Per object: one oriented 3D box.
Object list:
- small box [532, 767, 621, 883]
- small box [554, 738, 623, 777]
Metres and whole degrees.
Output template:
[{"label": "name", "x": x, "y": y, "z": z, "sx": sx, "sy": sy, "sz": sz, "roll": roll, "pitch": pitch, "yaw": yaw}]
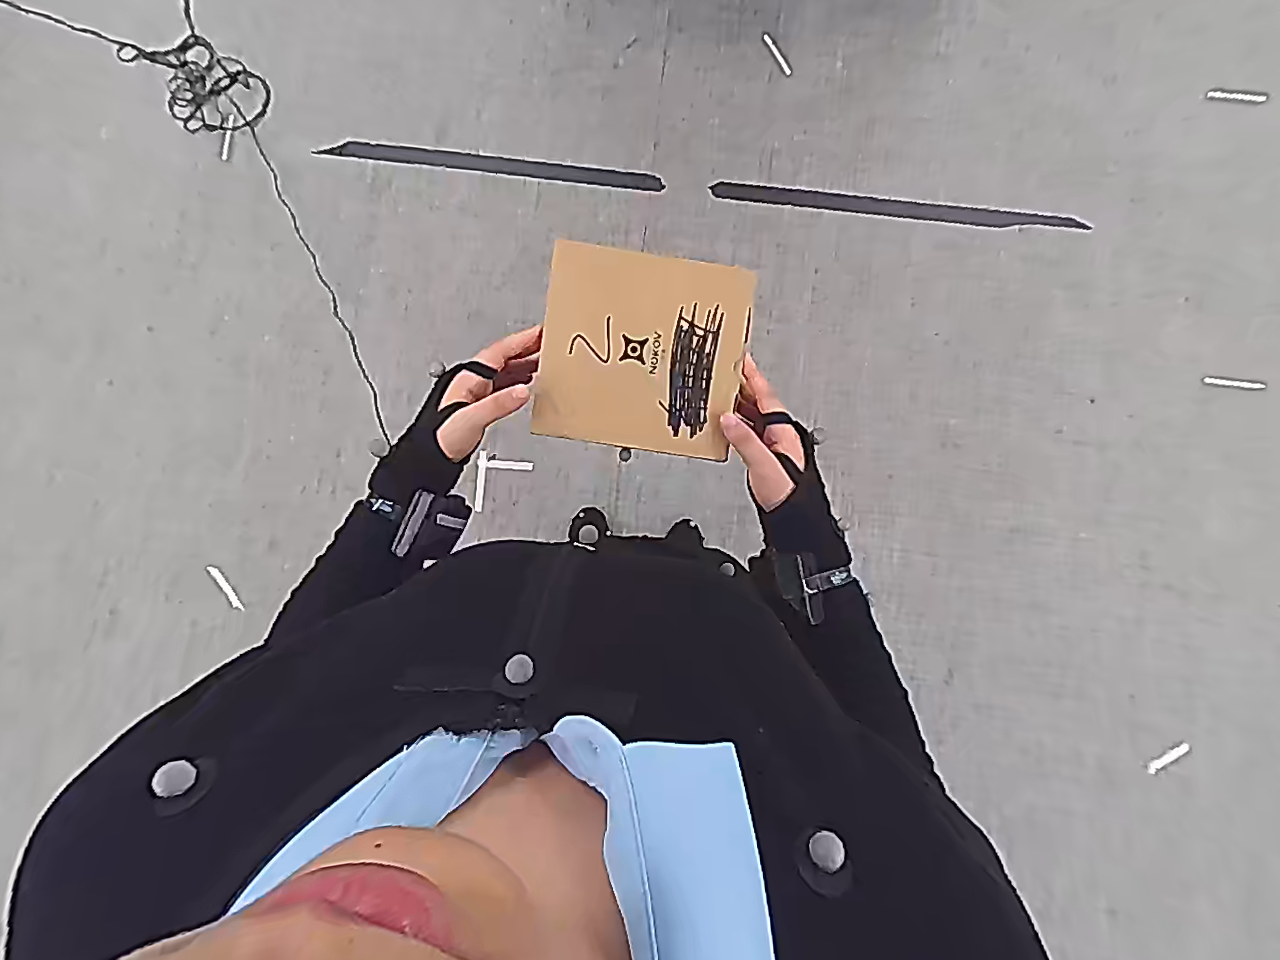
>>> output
[{"label": "small box", "x": -0.138, "y": 0.774, "z": 1.228, "sx": 0.179, "sy": 0.176, "sz": 0.168, "roll": 1, "pitch": 87, "yaw": 1}, {"label": "small box", "x": -0.140, "y": 0.791, "z": 1.390, "sx": 0.168, "sy": 0.176, "sz": 0.179, "roll": 9, "pitch": 88, "yaw": 3}]
